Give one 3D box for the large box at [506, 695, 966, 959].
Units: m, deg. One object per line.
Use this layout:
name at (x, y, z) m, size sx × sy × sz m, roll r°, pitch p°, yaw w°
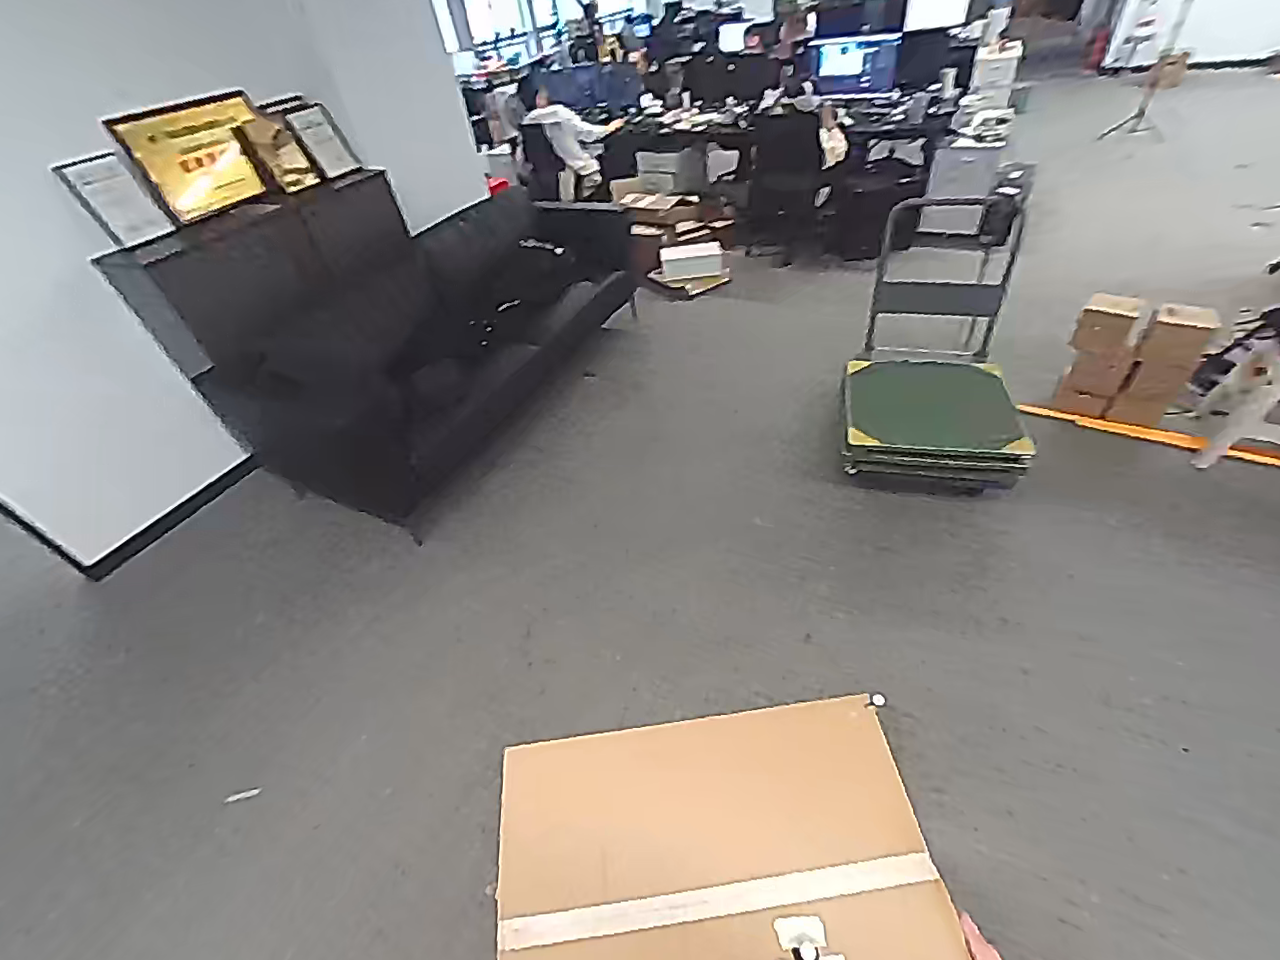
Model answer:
large box at (0.083, 0.484, 0.616) m, size 0.408 × 0.320 × 0.320 m, roll -9°, pitch 52°, yaw -3°
